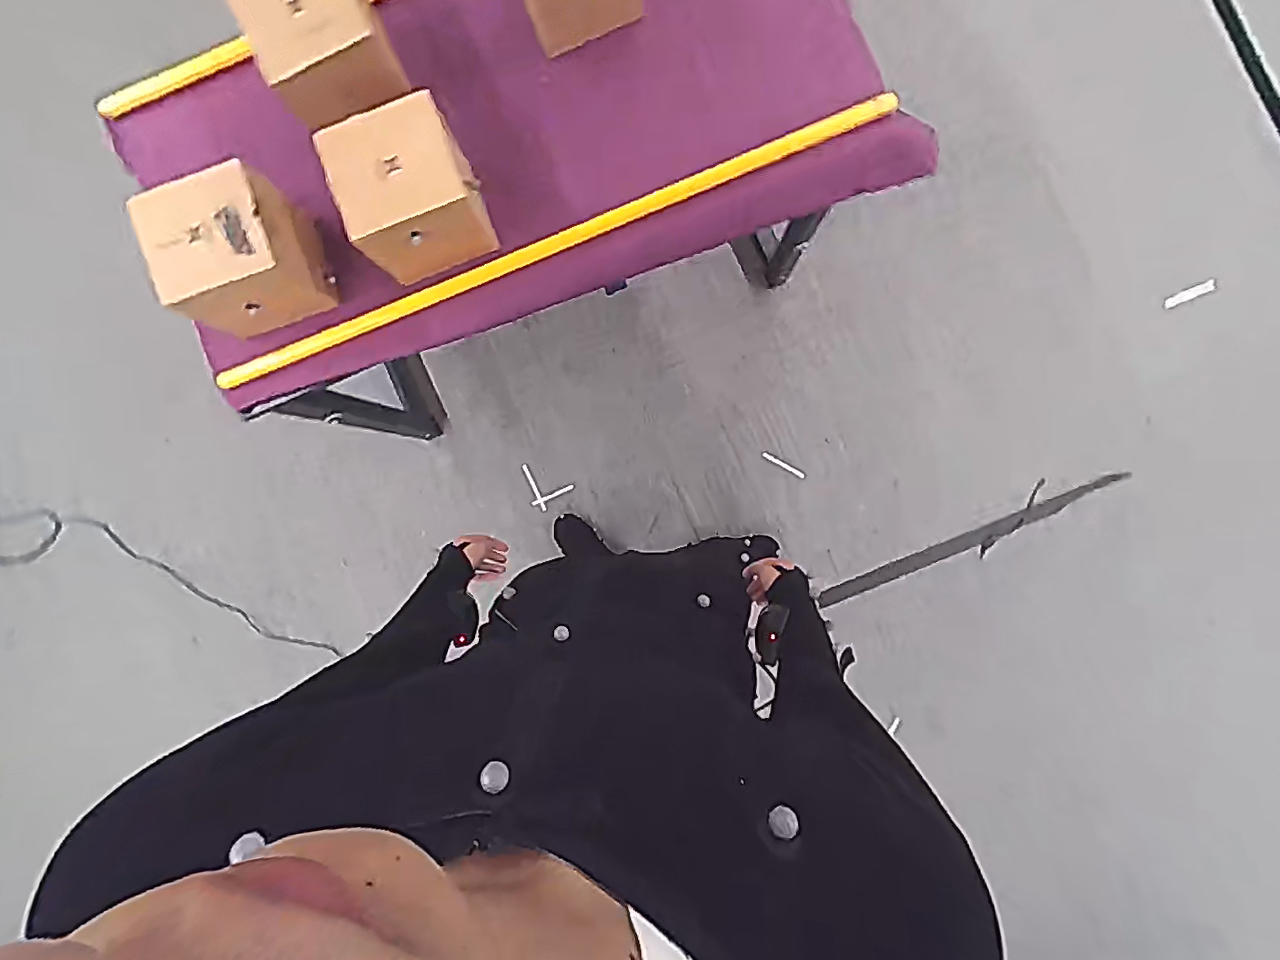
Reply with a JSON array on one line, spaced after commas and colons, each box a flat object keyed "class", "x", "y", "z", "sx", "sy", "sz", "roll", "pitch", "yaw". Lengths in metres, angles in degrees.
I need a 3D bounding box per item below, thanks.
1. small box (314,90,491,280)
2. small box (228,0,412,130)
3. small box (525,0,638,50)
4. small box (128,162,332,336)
[{"class": "small box", "x": -0.347, "y": -0.438, "z": 0.833, "sx": 0.179, "sy": 0.176, "sz": 0.168, "roll": -21, "pitch": 89, "yaw": 3}, {"class": "small box", "x": -0.486, "y": -0.670, "z": 0.838, "sx": 0.168, "sy": 0.176, "sz": 0.179, "roll": -26, "pitch": 90, "yaw": 3}, {"class": "small box", "x": -0.112, "y": -0.816, "z": 0.824, "sx": 0.179, "sy": 0.176, "sz": 0.168, "roll": -23, "pitch": 91, "yaw": 2}, {"class": "small box", "x": -0.614, "y": -0.345, "z": 0.840, "sx": 0.179, "sy": 0.176, "sz": 0.168, "roll": -19, "pitch": 89, "yaw": 2}]
